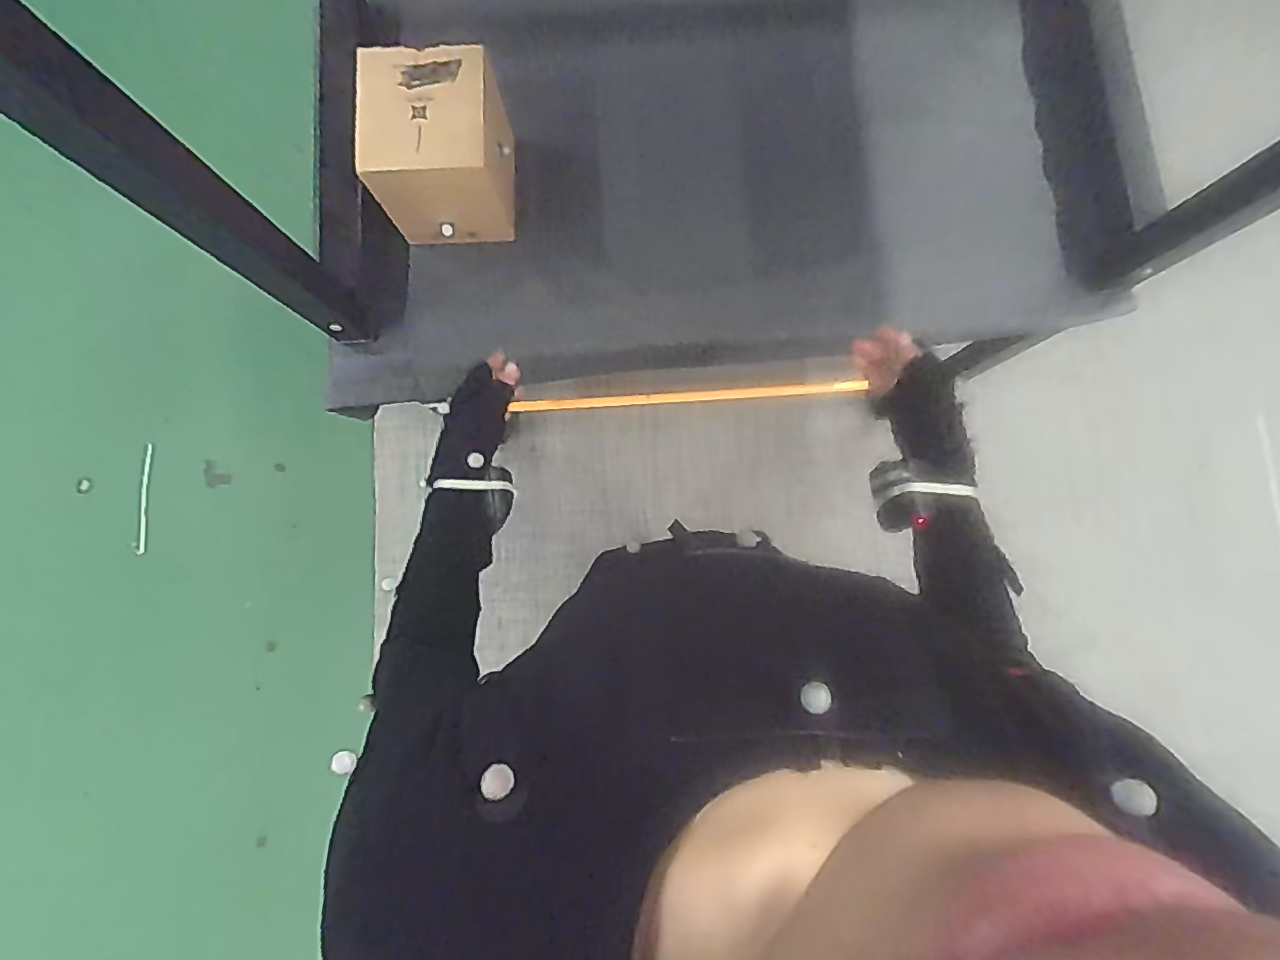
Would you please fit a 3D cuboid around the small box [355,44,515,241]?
[{"bbox_3d":[-0.278,-0.467,0.768,0.168,0.176,0.179,-2,83,0],"label":"small box"}]
